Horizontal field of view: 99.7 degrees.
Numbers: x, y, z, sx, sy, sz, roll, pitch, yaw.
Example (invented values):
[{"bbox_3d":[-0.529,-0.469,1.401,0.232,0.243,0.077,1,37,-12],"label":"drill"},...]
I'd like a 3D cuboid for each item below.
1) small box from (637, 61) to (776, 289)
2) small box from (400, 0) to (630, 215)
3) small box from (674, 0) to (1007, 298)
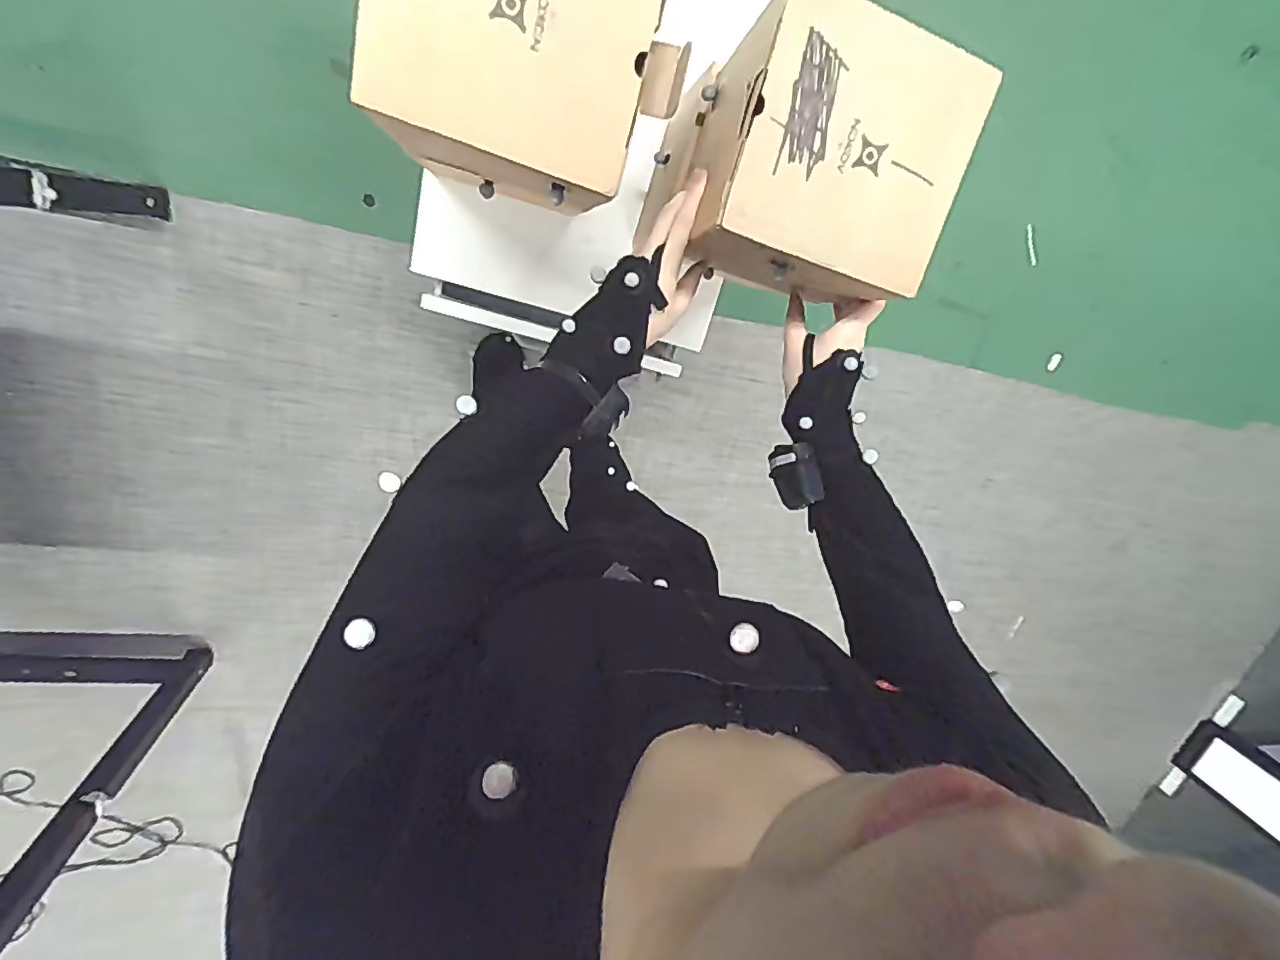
[{"bbox_3d":[0.108,-0.323,0.615,0.179,0.176,0.168,13,110,-16],"label":"small box"},{"bbox_3d":[-0.125,-0.378,0.545,0.179,0.176,0.168,9,111,-16],"label":"small box"},{"bbox_3d":[0.144,-0.258,0.458,0.179,0.176,0.168,13,105,-15],"label":"small box"}]
